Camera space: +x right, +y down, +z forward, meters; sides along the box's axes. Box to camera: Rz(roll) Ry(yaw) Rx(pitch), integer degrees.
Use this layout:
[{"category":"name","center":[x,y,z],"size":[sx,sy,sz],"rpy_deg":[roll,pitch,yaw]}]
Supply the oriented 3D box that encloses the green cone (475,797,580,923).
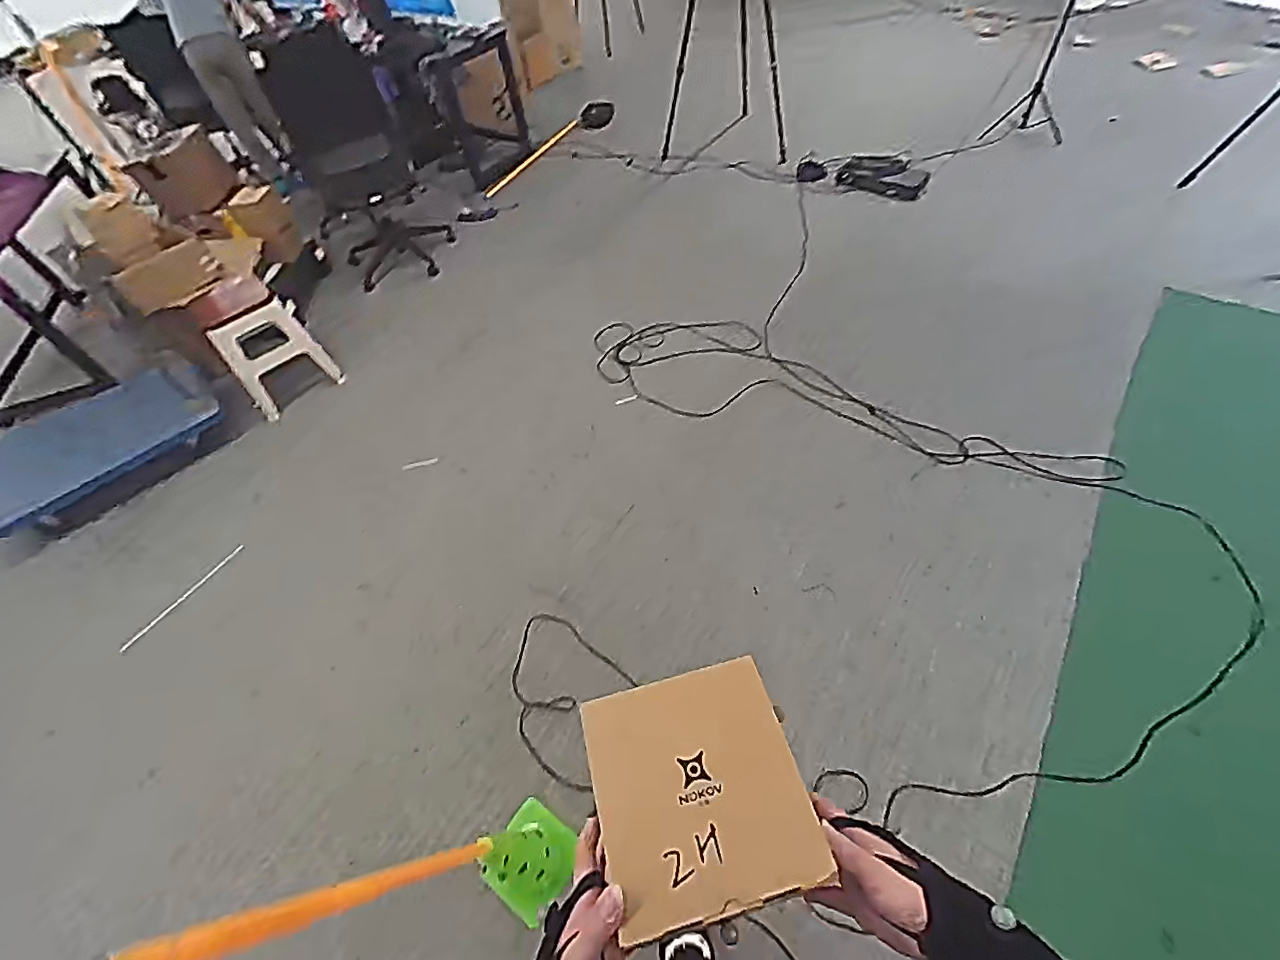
[{"category":"green cone","center":[-0.291,0.829,1.204],"size":[0.200,0.368,0.202],"rpy_deg":[28,60,24]}]

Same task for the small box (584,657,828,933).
[{"category":"small box","center":[0.048,0.297,0.509],"size":[0.168,0.176,0.179],"rpy_deg":[-13,51,-5]}]
